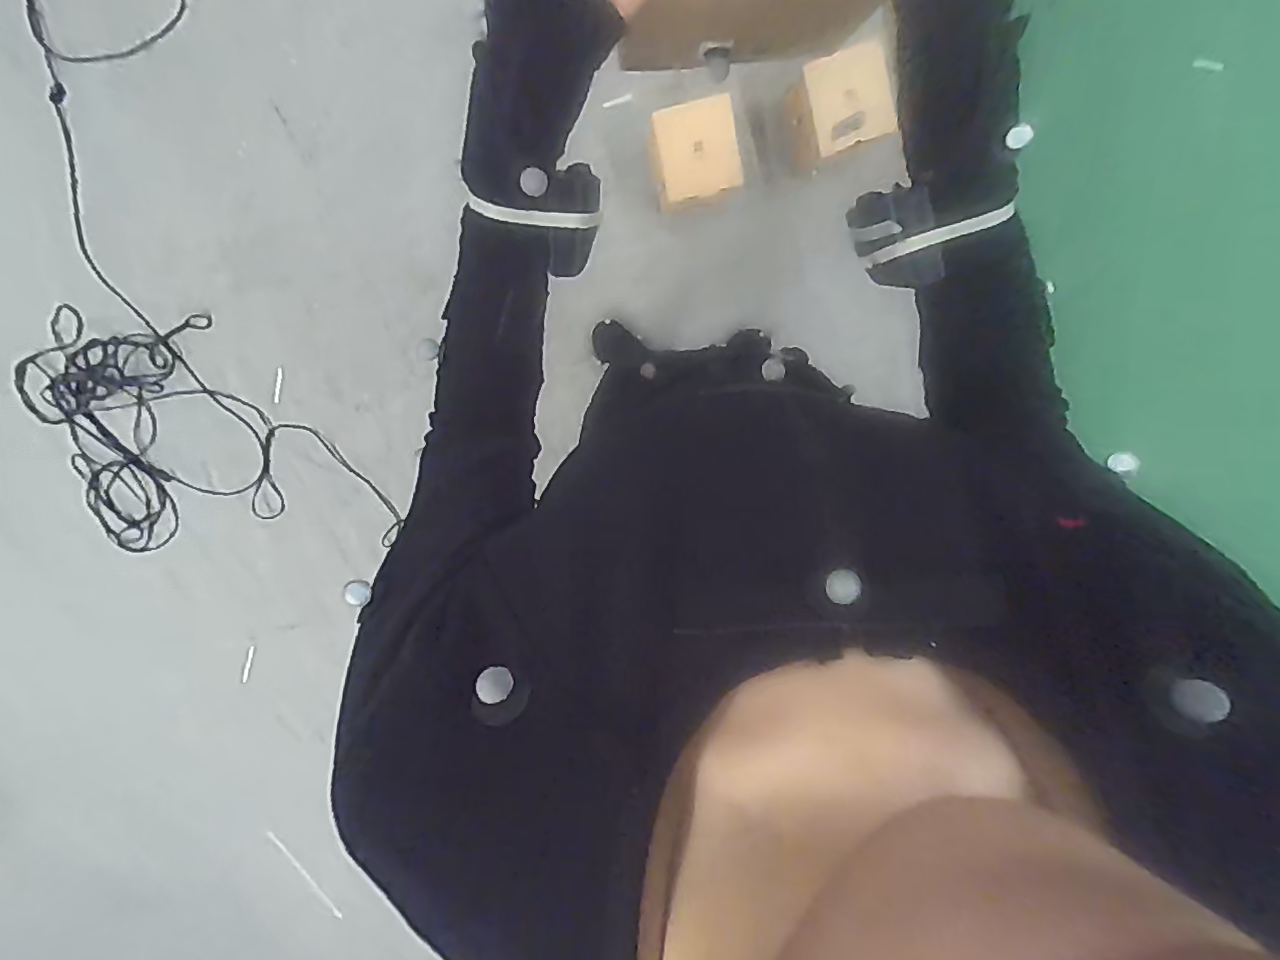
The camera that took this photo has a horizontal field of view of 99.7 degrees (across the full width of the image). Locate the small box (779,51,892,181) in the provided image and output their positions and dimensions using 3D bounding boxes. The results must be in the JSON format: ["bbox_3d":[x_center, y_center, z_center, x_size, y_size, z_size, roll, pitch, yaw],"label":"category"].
[{"bbox_3d":[0.424,-0.784,1.192,0.168,0.176,0.179,-19,106,4],"label":"small box"}]

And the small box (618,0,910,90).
[{"bbox_3d":[0.066,-0.360,0.314,0.168,0.176,0.179,-4,112,1],"label":"small box"}]

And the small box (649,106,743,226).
[{"bbox_3d":[0.119,-0.692,1.209,0.168,0.176,0.179,-14,107,2],"label":"small box"}]
